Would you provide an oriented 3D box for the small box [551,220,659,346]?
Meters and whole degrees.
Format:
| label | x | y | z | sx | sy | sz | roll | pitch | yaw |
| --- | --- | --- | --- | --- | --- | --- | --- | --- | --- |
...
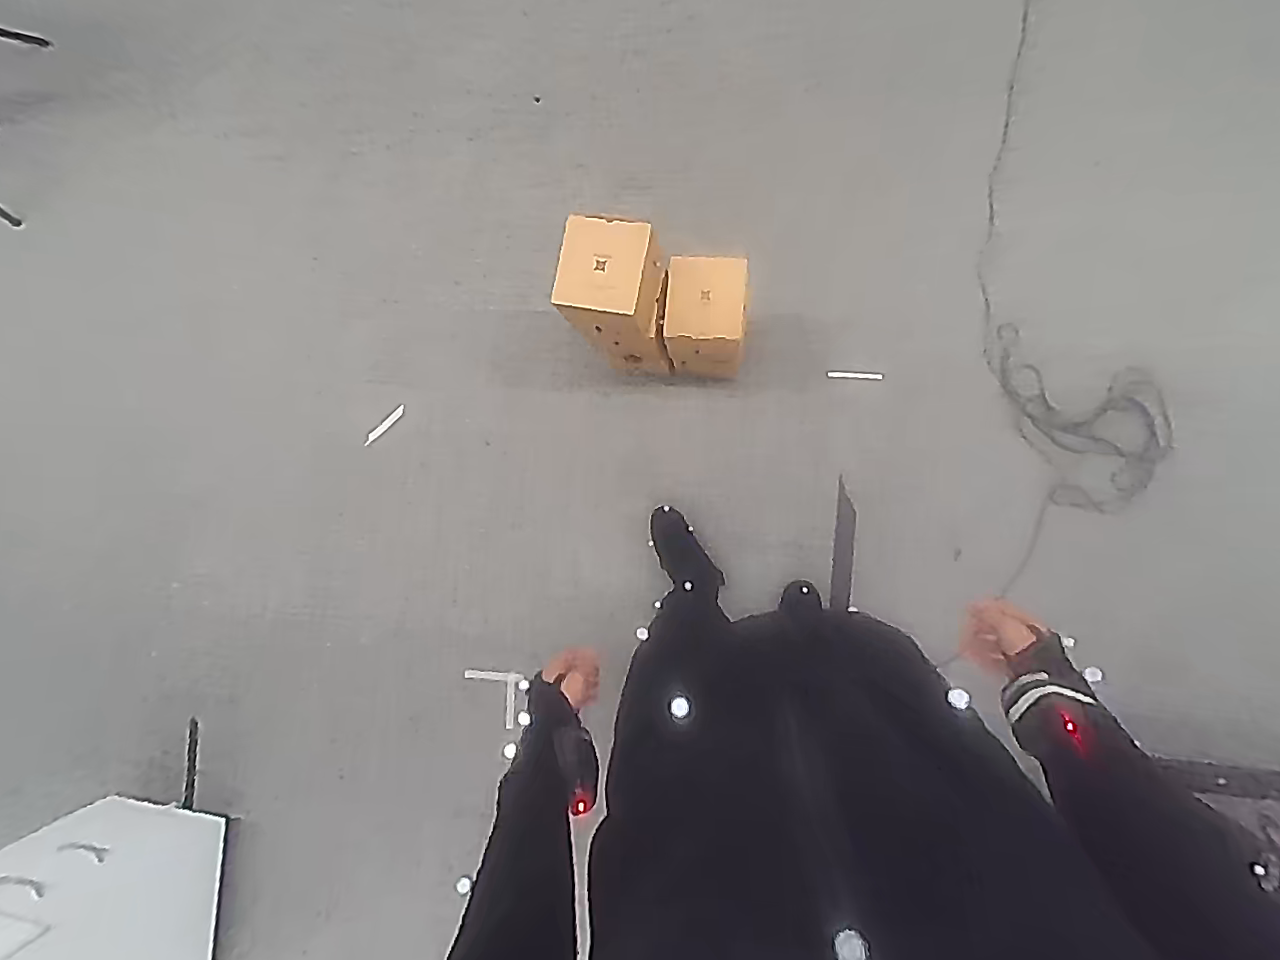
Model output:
| label | x | y | z | sx | sy | sz | roll | pitch | yaw |
| --- | --- | --- | --- | --- | --- | --- | --- | --- | --- |
| small box | -0.061 | -0.387 | 1.086 | 0.168 | 0.176 | 0.179 | 12 | 89 | 9 |
